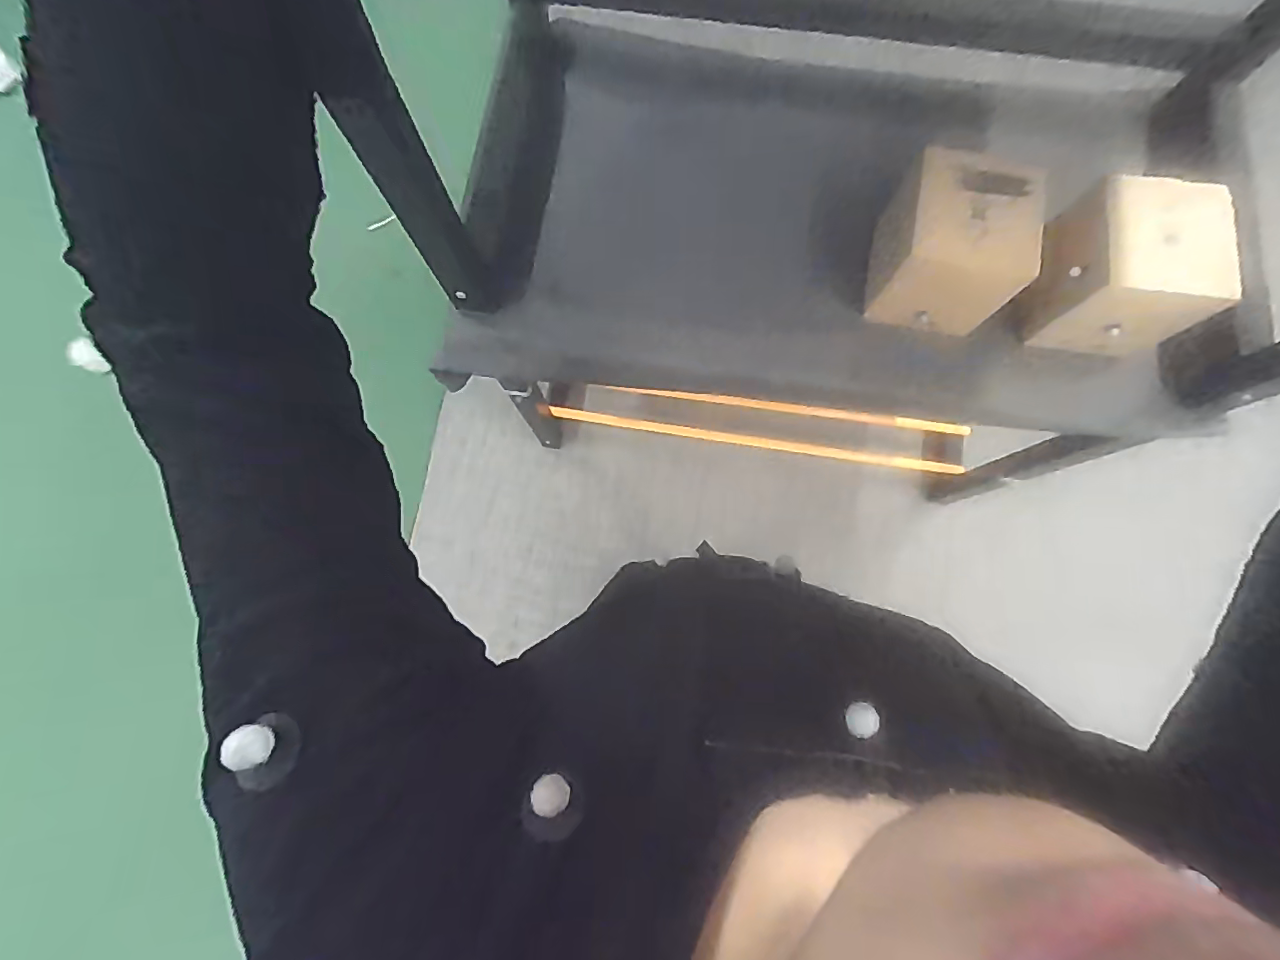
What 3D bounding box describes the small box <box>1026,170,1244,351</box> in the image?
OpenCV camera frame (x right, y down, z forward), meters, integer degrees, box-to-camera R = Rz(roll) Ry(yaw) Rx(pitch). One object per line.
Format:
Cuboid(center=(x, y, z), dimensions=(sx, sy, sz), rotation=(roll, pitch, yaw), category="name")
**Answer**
Cuboid(center=(0.696, -0.306, 0.783), dimensions=(0.168, 0.176, 0.179), rotation=(8, 77, 2), category="small box")
